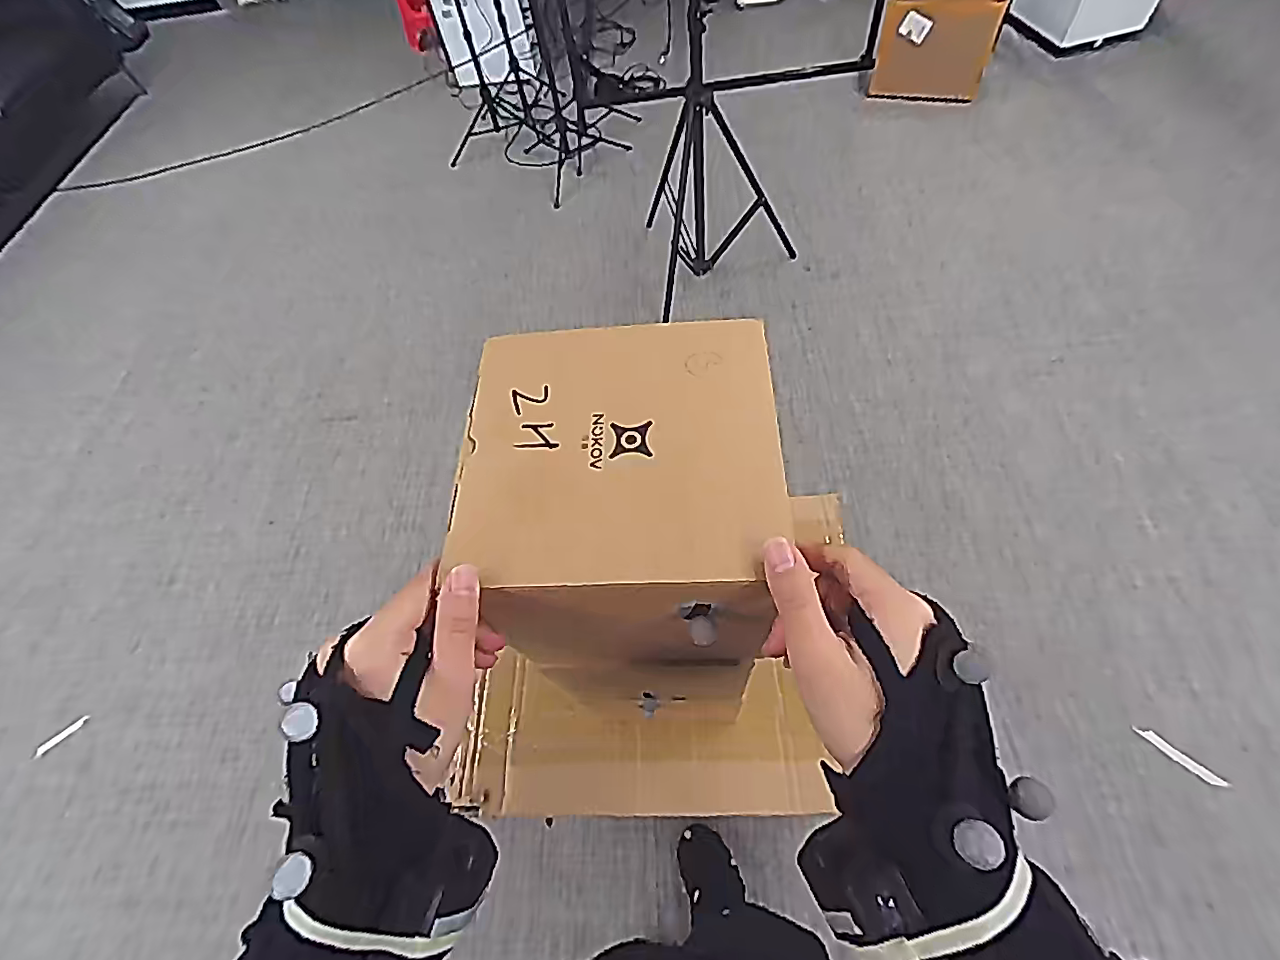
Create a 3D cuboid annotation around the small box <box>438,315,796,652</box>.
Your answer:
[{"bbox_3d":[-0.004,0.014,0.366,0.179,0.176,0.168,-3,59,6],"label":"small box"}]

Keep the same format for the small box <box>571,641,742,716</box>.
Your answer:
[{"bbox_3d":[0.026,0.183,0.647,0.179,0.176,0.168,-2,59,6],"label":"small box"}]
